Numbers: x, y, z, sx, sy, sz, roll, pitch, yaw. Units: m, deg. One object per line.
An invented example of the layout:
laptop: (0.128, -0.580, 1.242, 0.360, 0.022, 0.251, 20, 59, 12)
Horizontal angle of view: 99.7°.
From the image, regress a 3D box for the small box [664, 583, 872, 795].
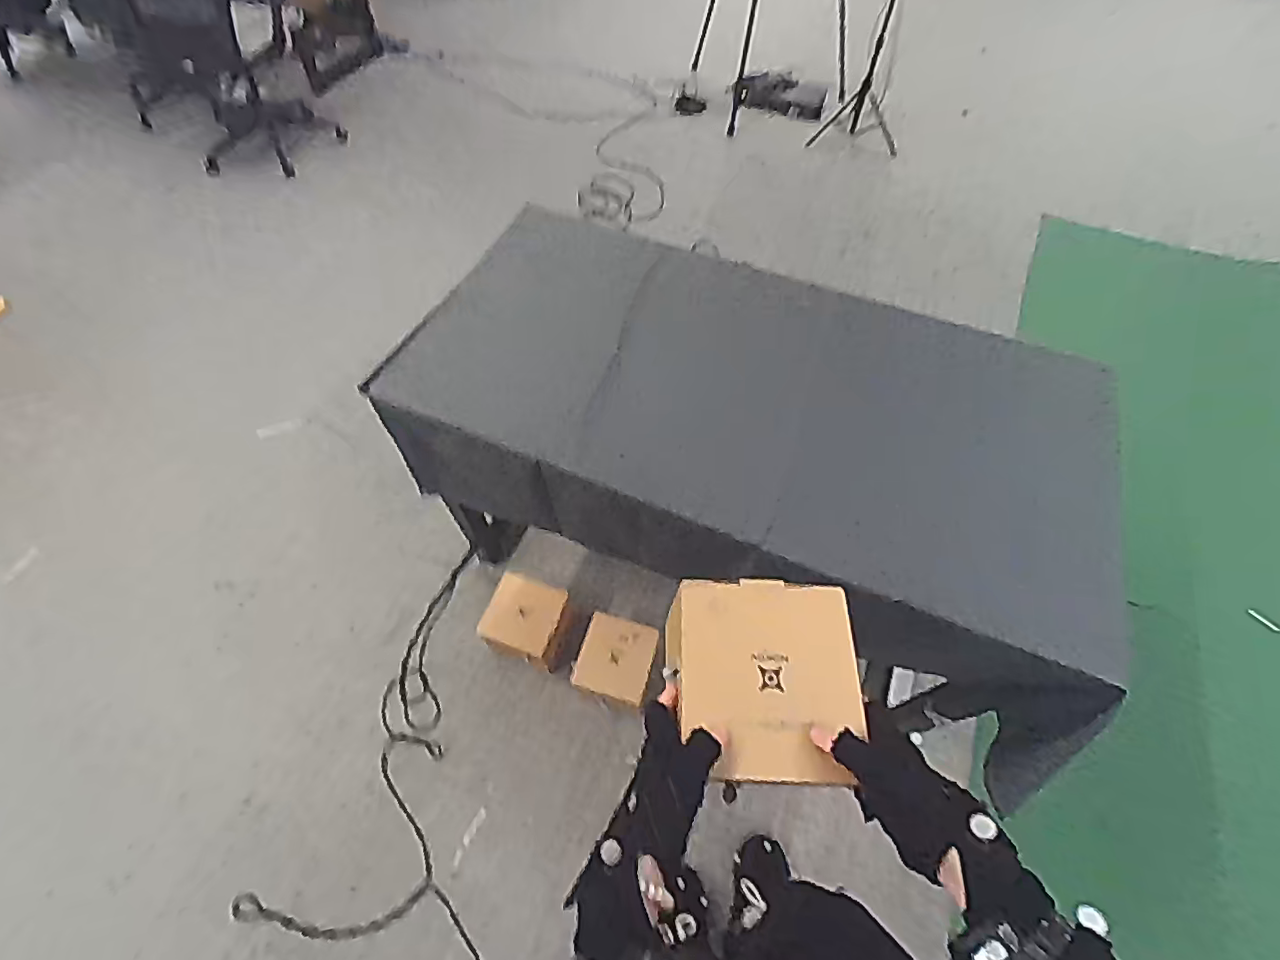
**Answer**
small box: (0.114, 0.221, 0.561, 0.168, 0.176, 0.179, 3, 60, -1)
